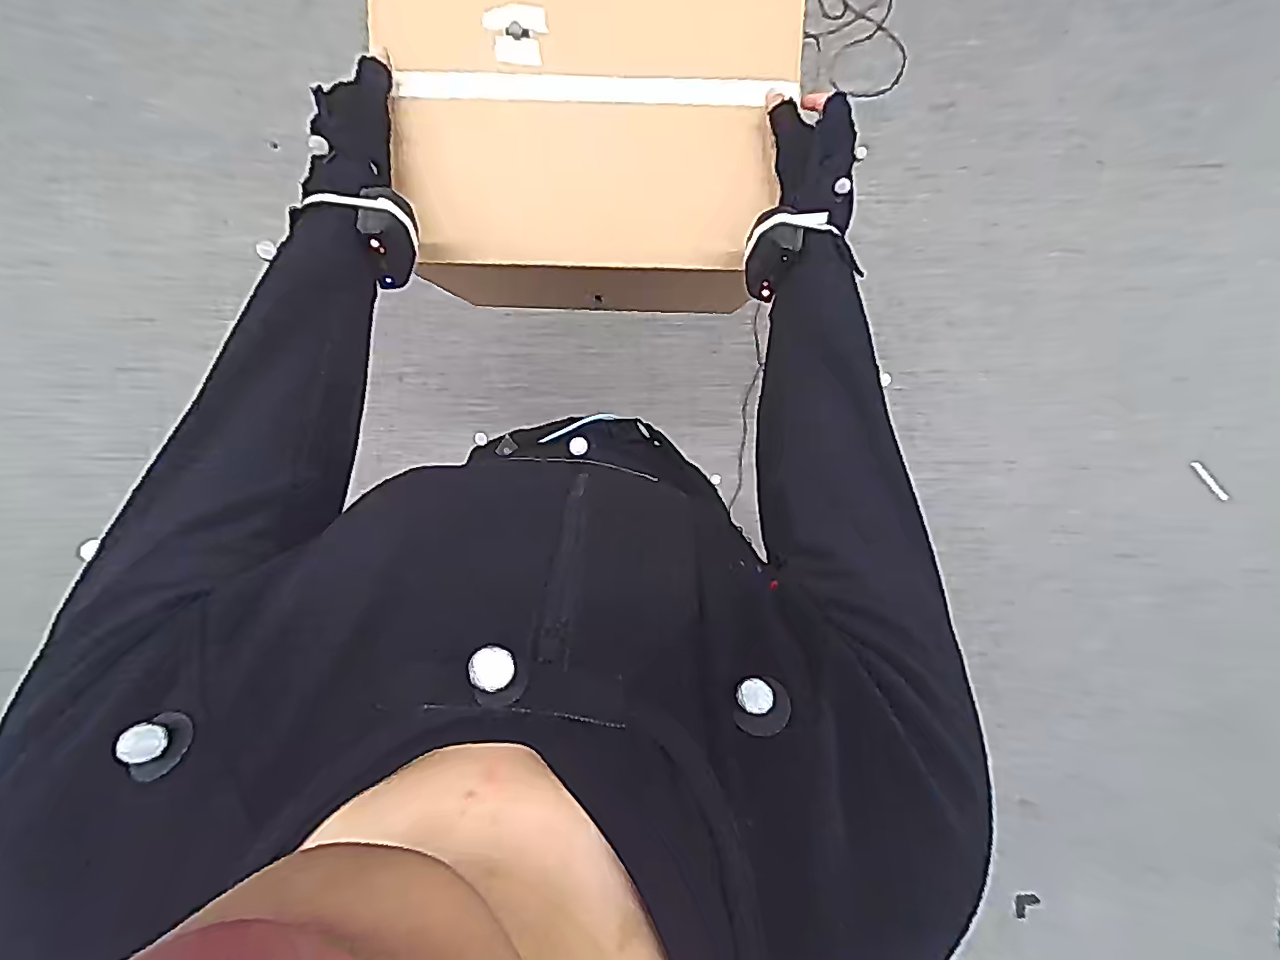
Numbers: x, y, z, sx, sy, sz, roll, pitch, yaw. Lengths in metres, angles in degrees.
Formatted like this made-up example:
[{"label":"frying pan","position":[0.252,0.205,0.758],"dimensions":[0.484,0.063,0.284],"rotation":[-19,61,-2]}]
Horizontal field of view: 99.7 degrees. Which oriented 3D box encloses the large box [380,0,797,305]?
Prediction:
[{"label":"large box","position":[-0.049,-0.396,0.670],"dimensions":[0.408,0.320,0.320],"rotation":[1,99,-1]}]
